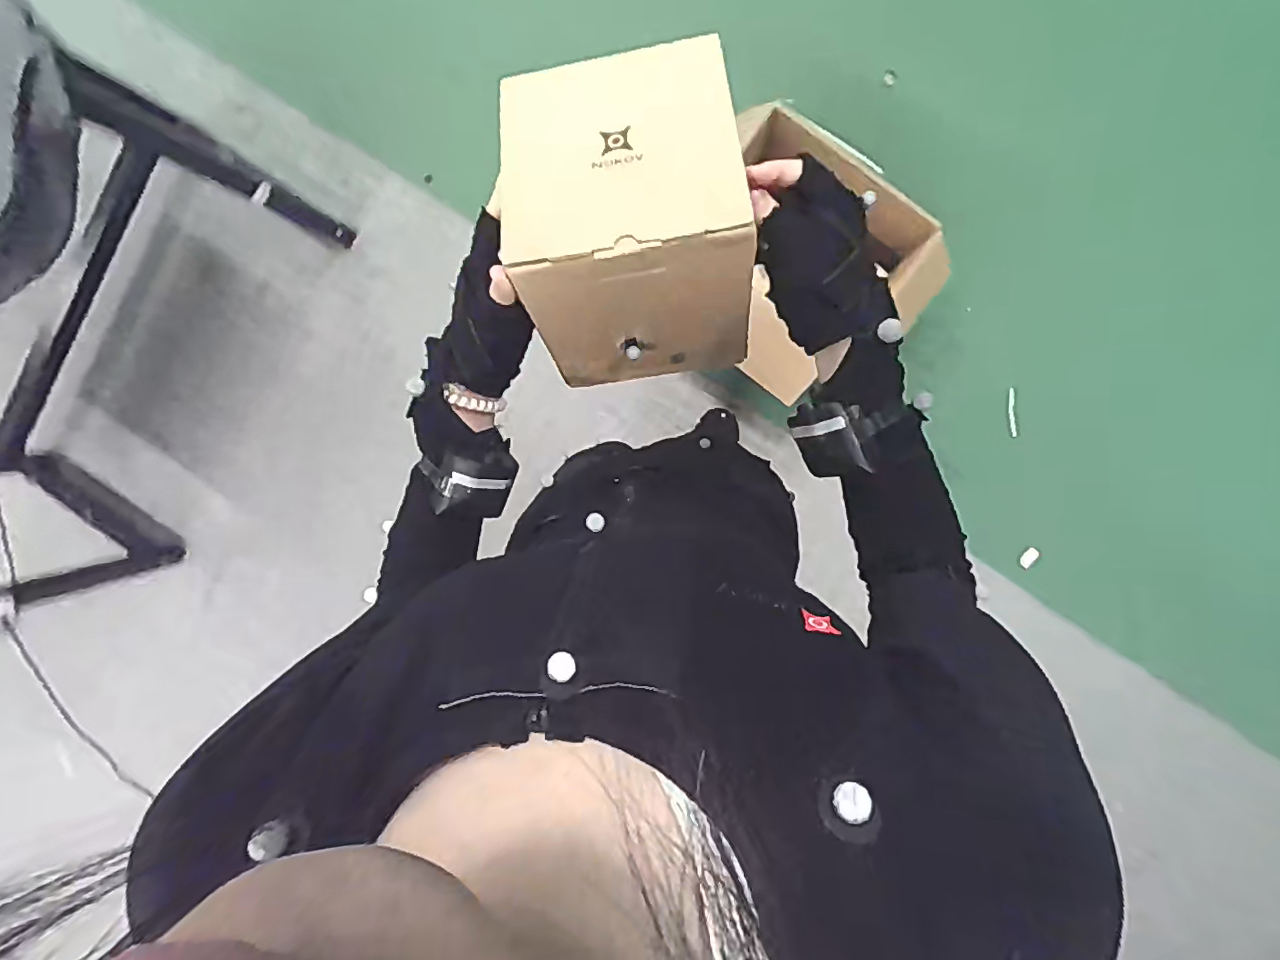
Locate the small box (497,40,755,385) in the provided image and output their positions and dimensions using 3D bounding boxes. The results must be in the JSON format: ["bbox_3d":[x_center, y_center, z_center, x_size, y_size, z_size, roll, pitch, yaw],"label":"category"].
[{"bbox_3d":[-0.008,-0.202,0.446,0.168,0.176,0.179,-9,73,4],"label":"small box"}]
